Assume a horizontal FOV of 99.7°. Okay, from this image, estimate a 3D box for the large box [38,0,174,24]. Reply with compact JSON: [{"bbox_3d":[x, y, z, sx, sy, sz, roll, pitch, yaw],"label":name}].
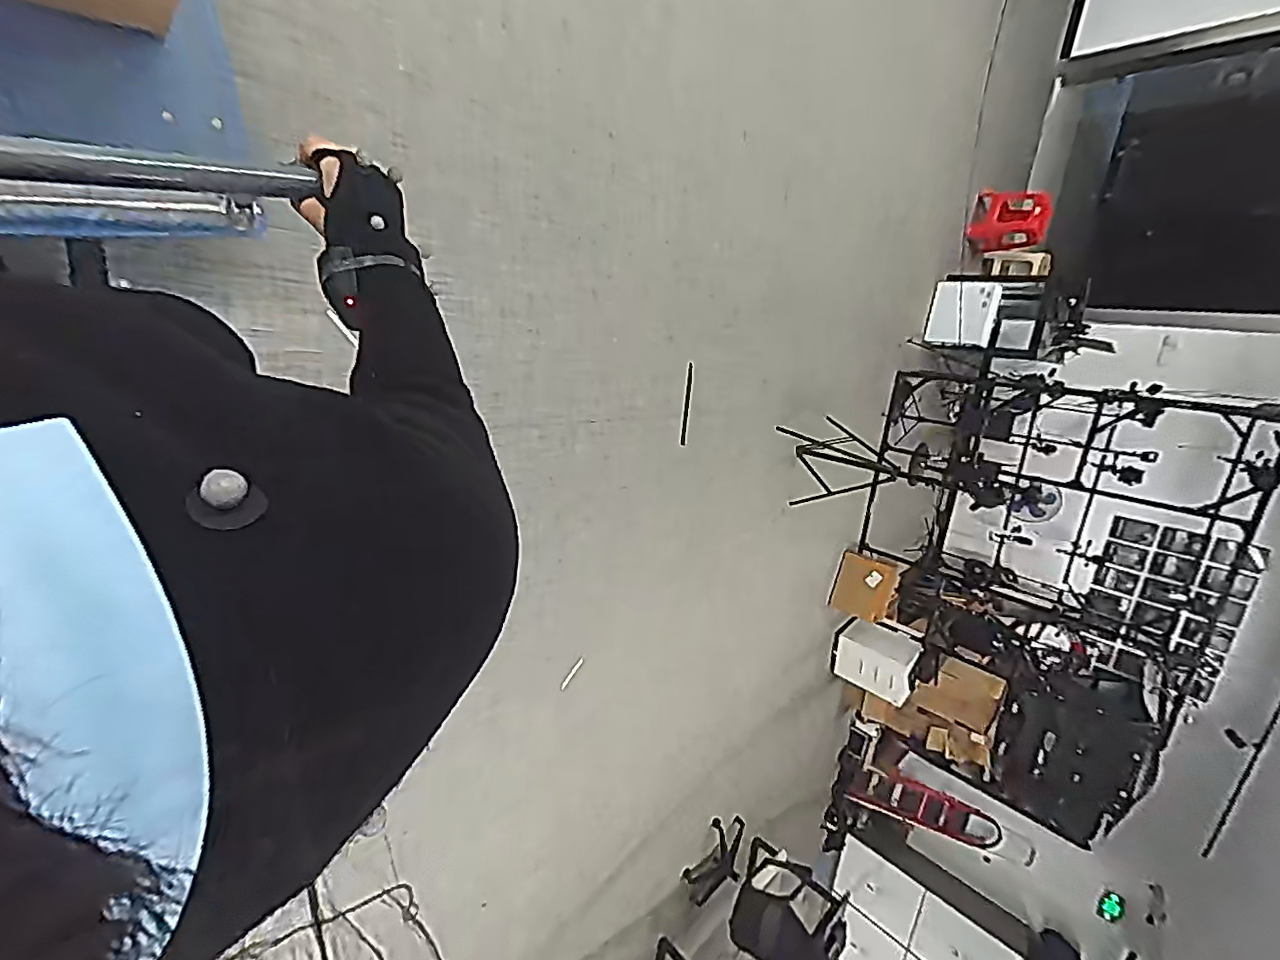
[{"bbox_3d":[-0.832,-0.799,0.619,0.408,0.320,0.320,-20,119,-41],"label":"large box"}]
